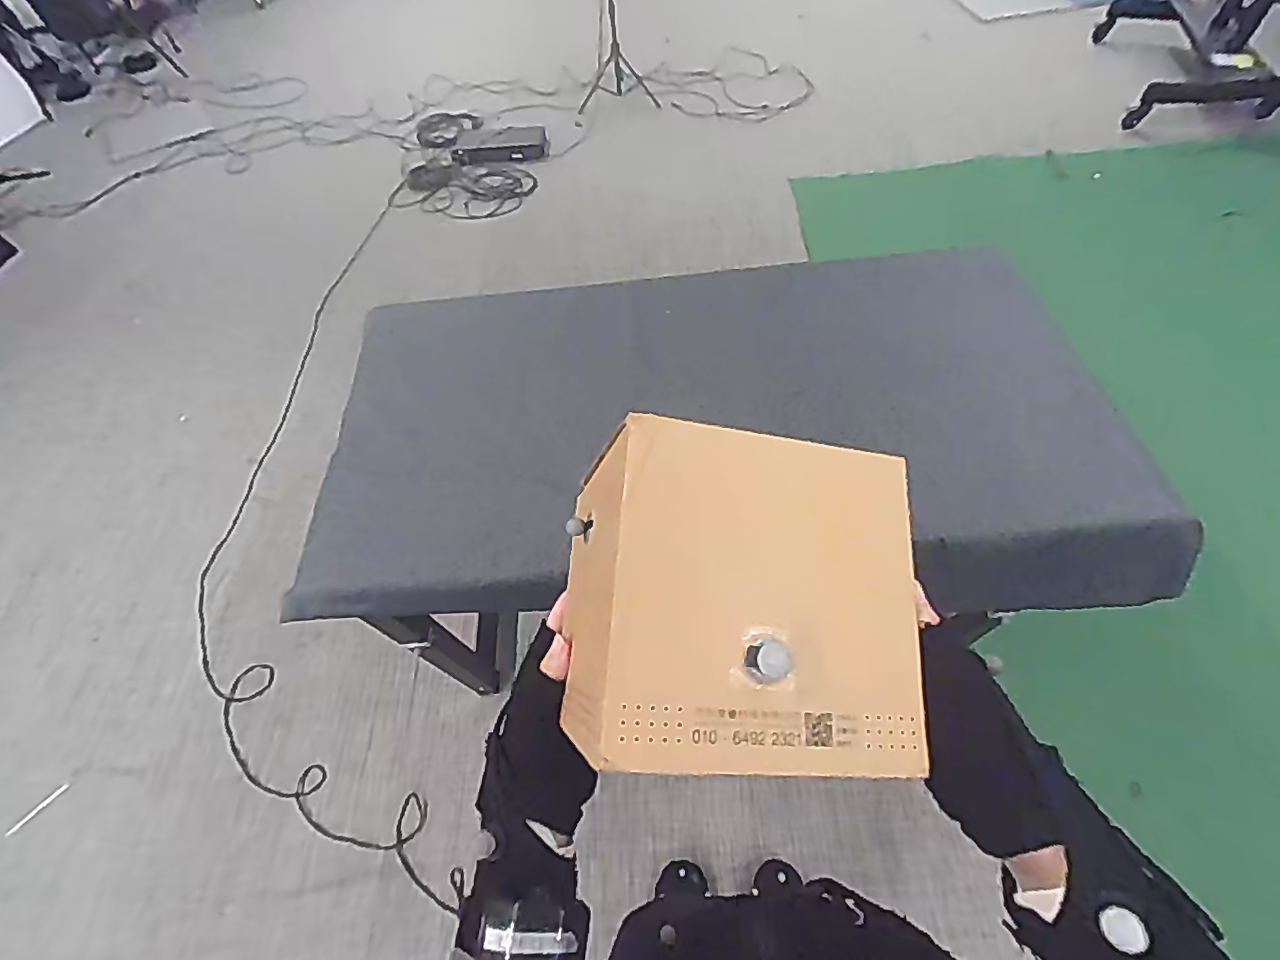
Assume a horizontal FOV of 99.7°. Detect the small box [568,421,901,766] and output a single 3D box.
[{"bbox_3d":[0.047,0.079,0.364,0.168,0.179,0.176,7,74,-12],"label":"small box"}]
